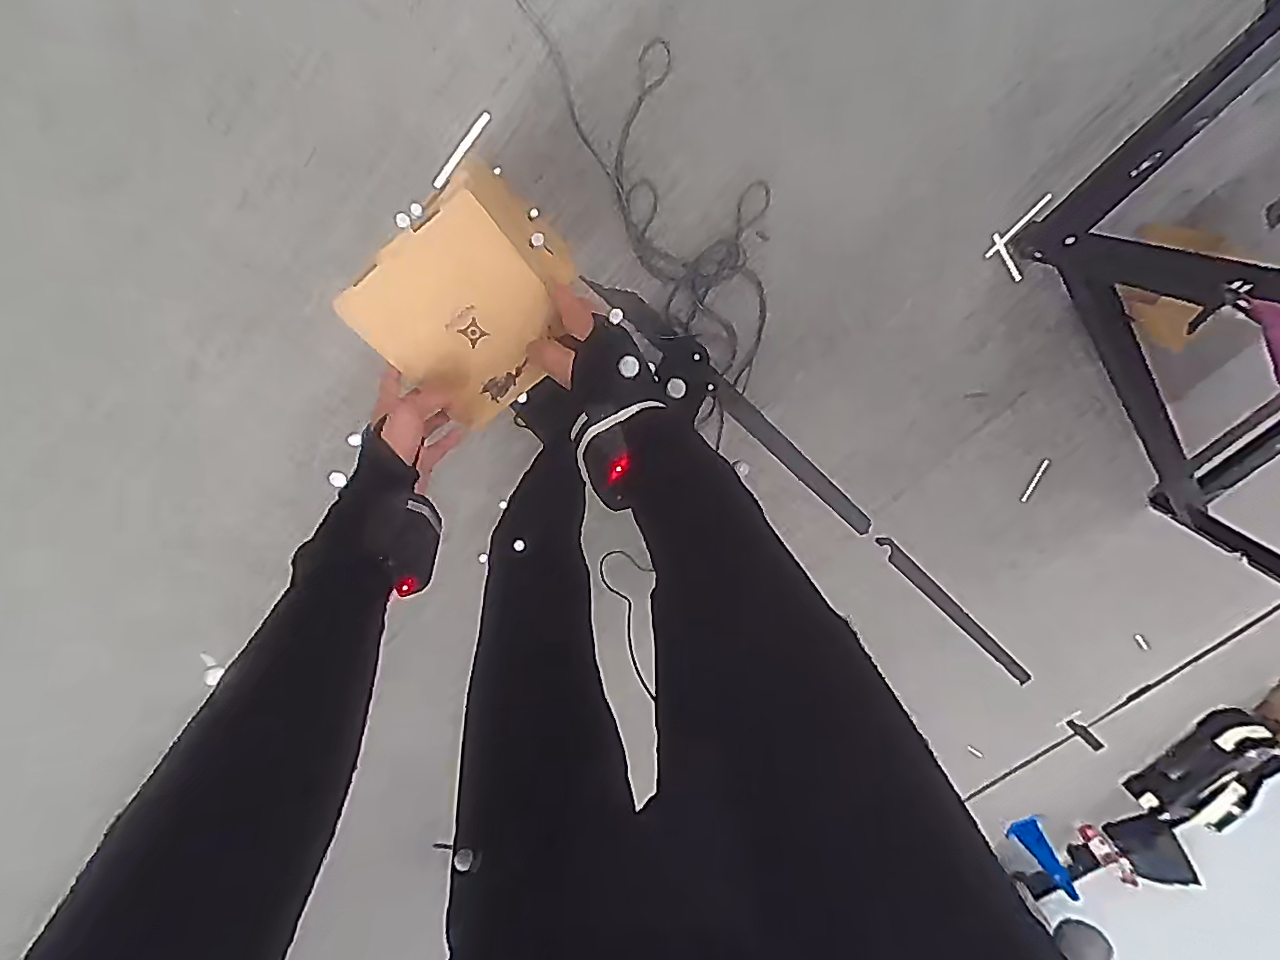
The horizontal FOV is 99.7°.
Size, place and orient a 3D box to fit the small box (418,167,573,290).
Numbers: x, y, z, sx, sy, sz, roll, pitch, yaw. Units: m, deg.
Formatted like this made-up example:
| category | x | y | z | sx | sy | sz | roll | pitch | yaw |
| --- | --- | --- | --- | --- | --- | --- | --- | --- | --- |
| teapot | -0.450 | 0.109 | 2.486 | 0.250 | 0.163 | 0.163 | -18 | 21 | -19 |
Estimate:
| category | x | y | z | sx | sy | sz | roll | pitch | yaw |
| --- | --- | --- | --- | --- | --- | --- | --- | --- | --- |
| small box | -0.208 | -0.279 | 0.716 | 0.179 | 0.176 | 0.168 | -43 | 122 | 15 |

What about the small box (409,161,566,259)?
| category | x | y | z | sx | sy | sz | roll | pitch | yaw |
| --- | --- | --- | --- | --- | --- | --- | --- | --- | --- |
| small box | -0.239 | -0.367 | 0.848 | 0.168 | 0.176 | 0.179 | -43 | 122 | 17 |

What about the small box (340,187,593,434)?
| category | x | y | z | sx | sy | sz | roll | pitch | yaw |
| --- | --- | --- | --- | --- | --- | --- | --- | --- | --- |
| small box | -0.174 | -0.188 | 0.583 | 0.168 | 0.176 | 0.179 | -34 | 122 | 10 |
